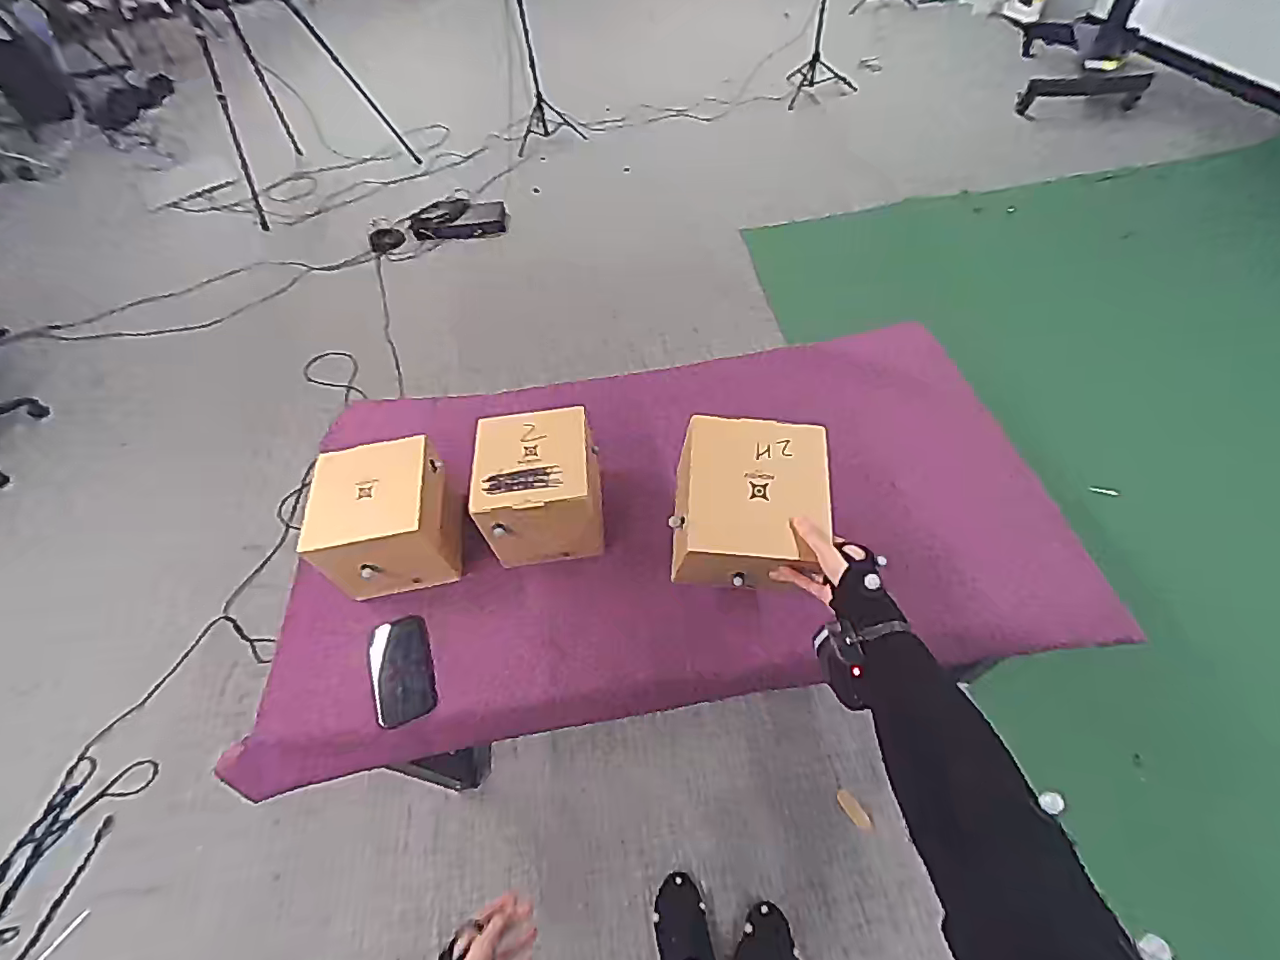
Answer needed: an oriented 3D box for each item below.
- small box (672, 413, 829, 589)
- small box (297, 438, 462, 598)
[{"bbox_3d":[0.134,0.036,0.703,0.168,0.176,0.179,6,66,-1],"label":"small box"},{"bbox_3d":[-0.383,0.066,0.833,0.168,0.176,0.179,-11,53,-2],"label":"small box"}]
